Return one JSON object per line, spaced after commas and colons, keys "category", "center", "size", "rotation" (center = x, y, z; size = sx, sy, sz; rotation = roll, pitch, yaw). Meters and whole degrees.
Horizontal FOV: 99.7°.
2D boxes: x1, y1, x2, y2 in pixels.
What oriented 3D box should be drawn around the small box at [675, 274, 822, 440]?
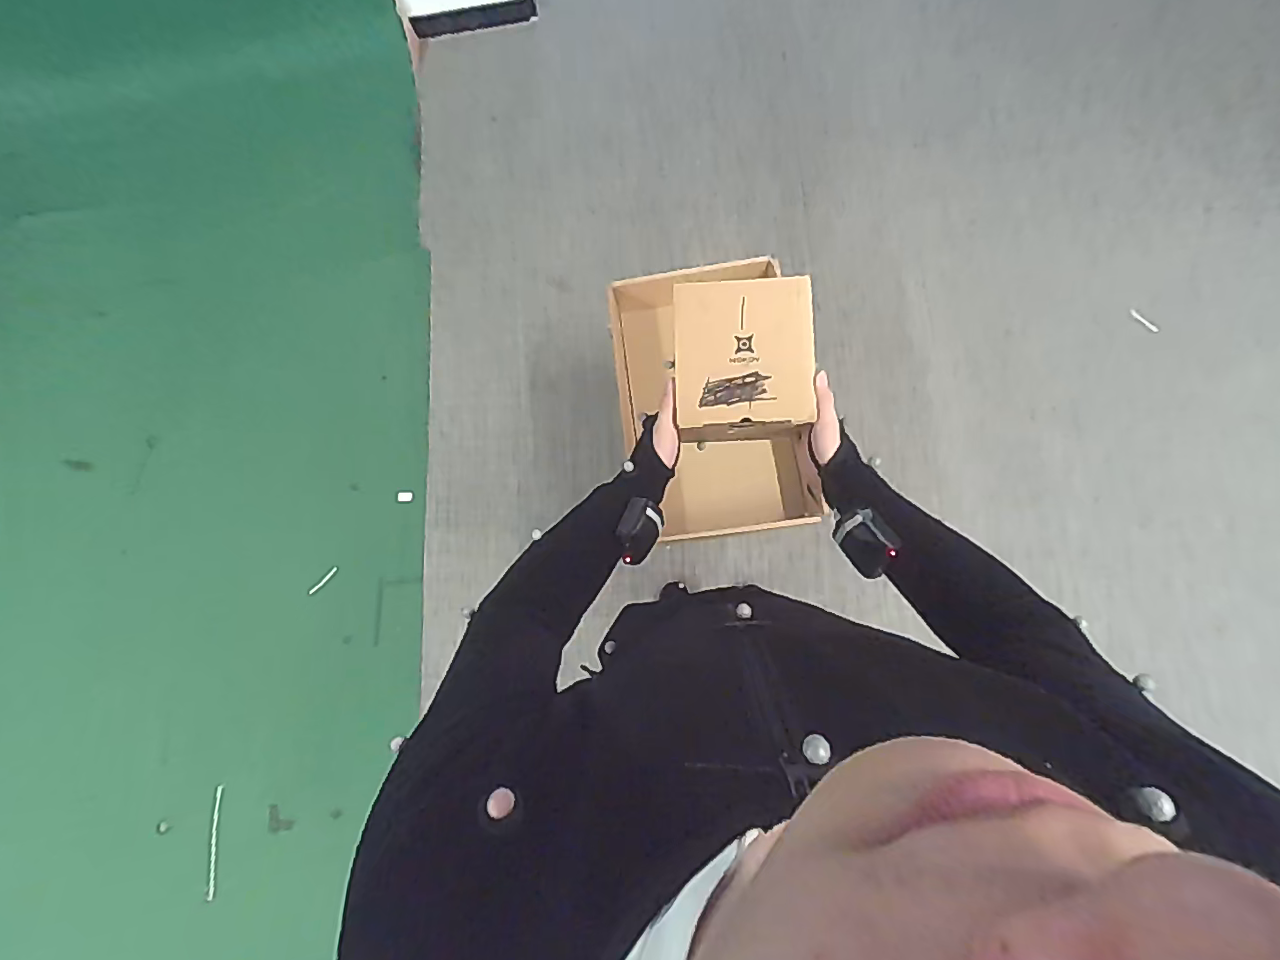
{"category": "small box", "center": [0.134, -0.147, 0.711], "size": [0.168, 0.176, 0.179], "rotation": [-3, 87, 4]}
